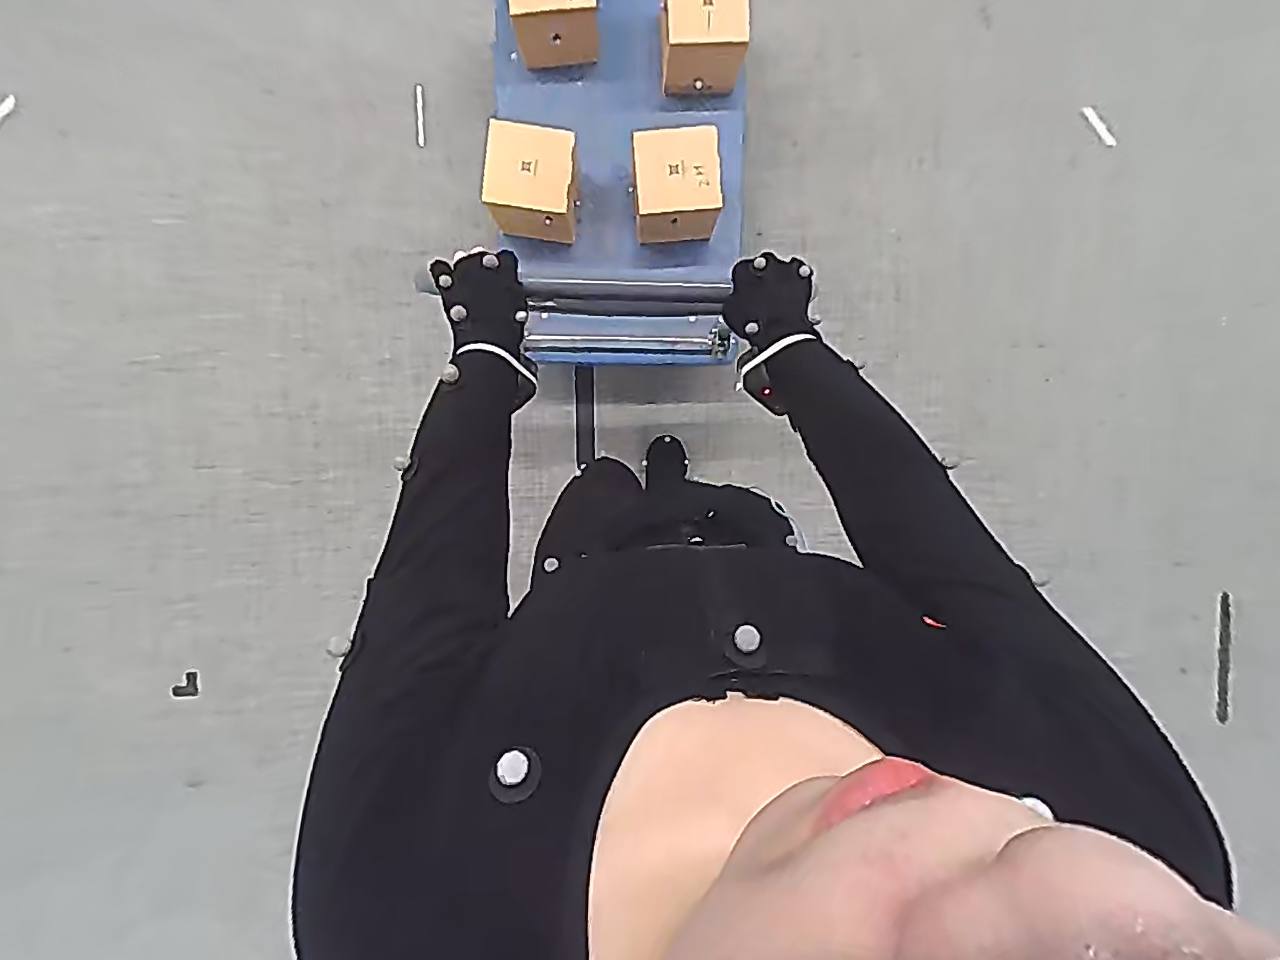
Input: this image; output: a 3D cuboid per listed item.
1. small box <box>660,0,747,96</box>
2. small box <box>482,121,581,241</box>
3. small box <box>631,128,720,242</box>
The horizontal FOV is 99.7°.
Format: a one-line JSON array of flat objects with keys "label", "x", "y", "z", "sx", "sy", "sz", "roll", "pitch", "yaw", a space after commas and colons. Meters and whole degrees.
[{"label": "small box", "x": 0.132, "y": -0.974, "z": 1.169, "sx": 0.168, "sy": 0.176, "sz": 0.179, "roll": -2, "pitch": 95, "yaw": -1}, {"label": "small box", "x": -0.230, "y": -0.643, "z": 1.183, "sx": 0.179, "sy": 0.176, "sz": 0.168, "roll": 7, "pitch": 94, "yaw": -3}, {"label": "small box", "x": 0.073, "y": -0.640, "z": 1.191, "sx": 0.179, "sy": 0.176, "sz": 0.168, "roll": -5, "pitch": 94, "yaw": -1}]
